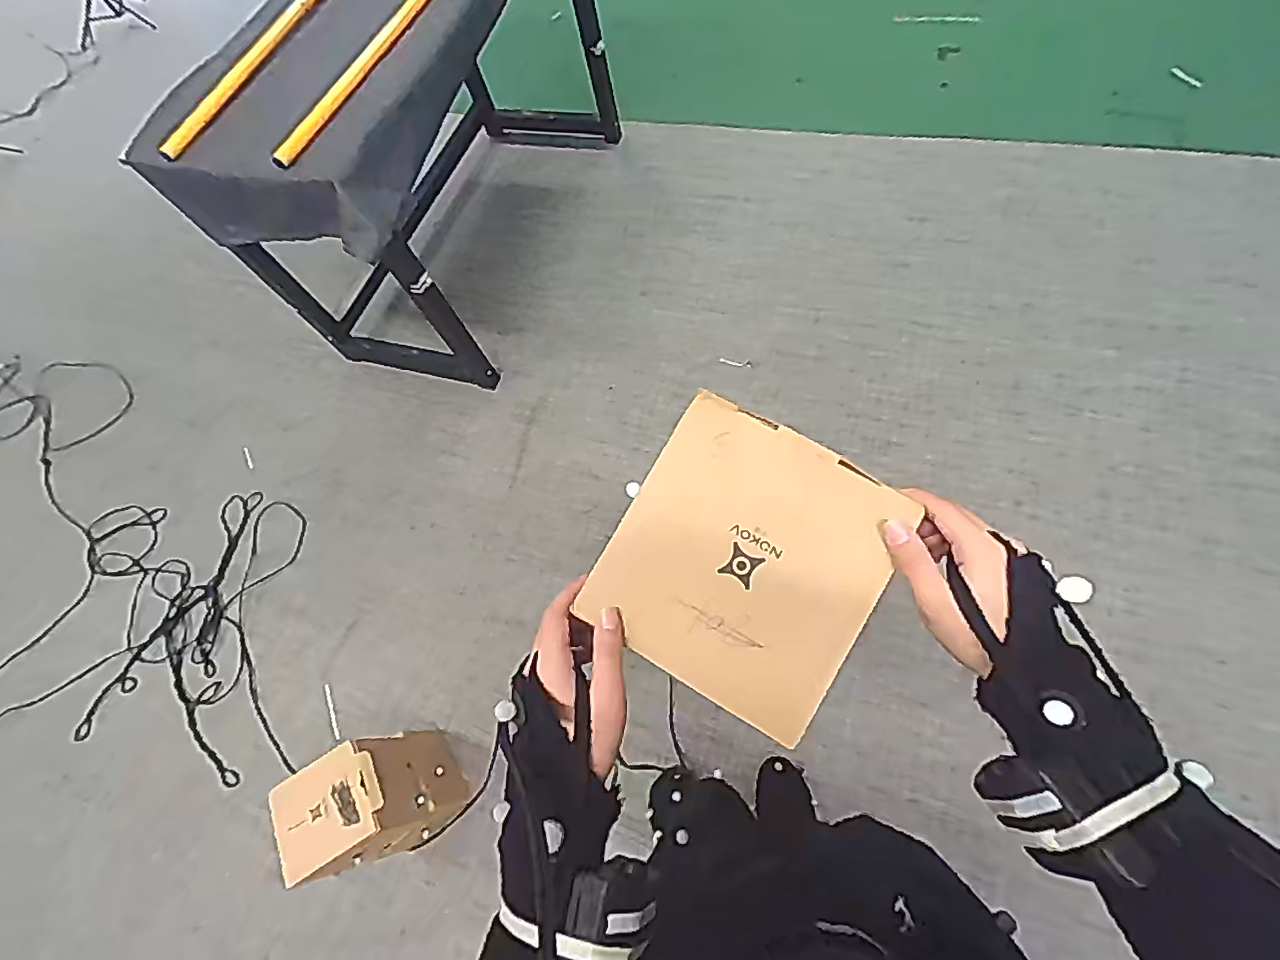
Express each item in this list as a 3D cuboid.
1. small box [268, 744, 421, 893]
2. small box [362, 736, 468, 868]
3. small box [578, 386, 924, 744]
[{"bbox_3d":[-0.532,0.607,0.998,0.179,0.176,0.168,-32,63,-4],"label":"small box"},{"bbox_3d":[-0.497,0.668,1.148,0.168,0.176,0.179,-36,64,-7],"label":"small box"},{"bbox_3d":[0.077,0.059,0.425,0.168,0.176,0.179,29,87,11],"label":"small box"}]
